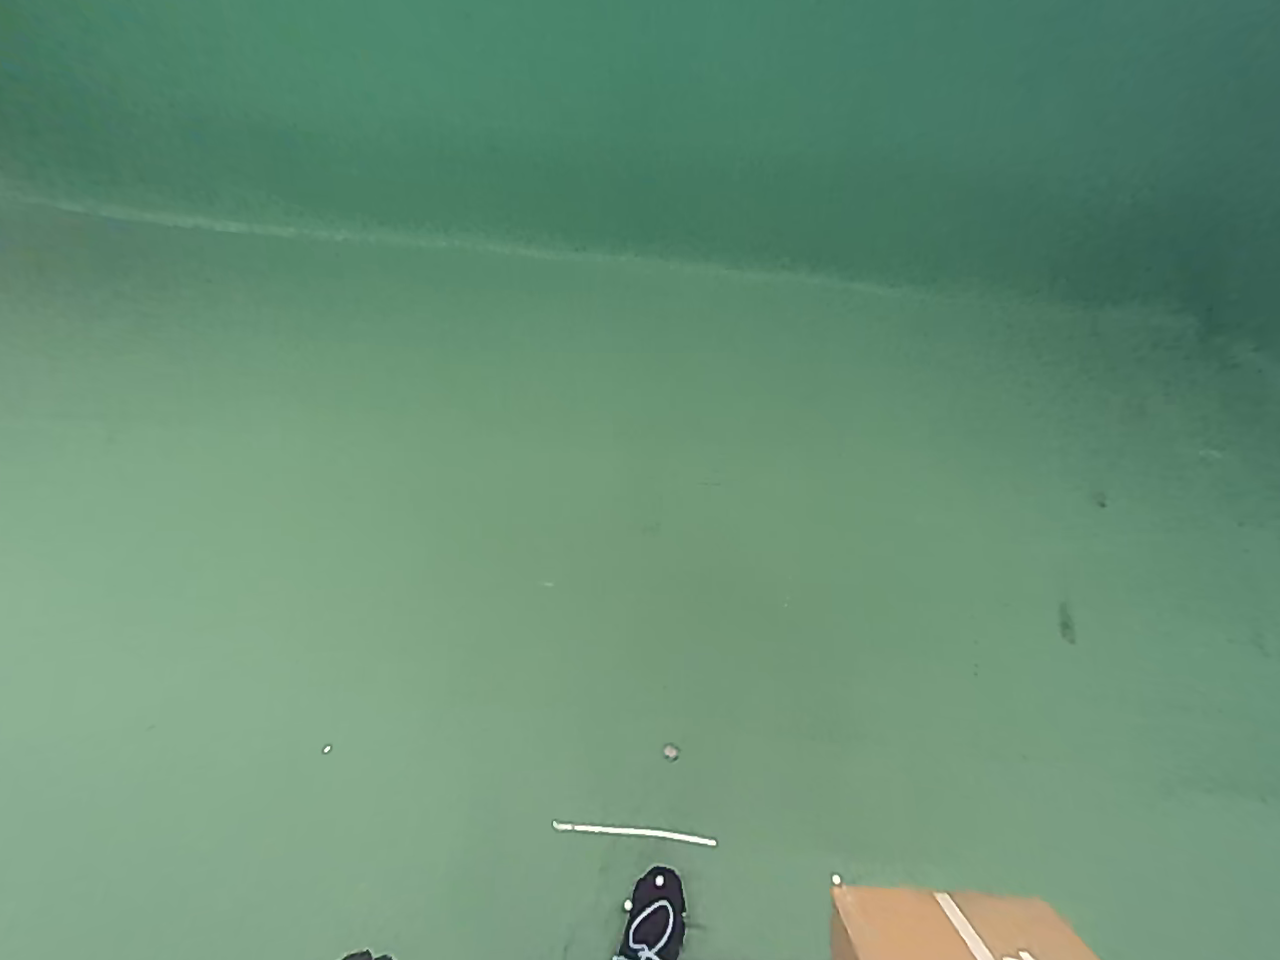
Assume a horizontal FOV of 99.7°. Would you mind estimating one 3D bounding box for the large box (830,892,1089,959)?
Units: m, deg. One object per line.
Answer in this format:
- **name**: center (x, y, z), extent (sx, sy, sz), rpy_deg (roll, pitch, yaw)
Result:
- **large box**: center (0.424, 0.764, 0.599), extent (0.320, 0.408, 0.320), rpy_deg (3, 88, 3)
